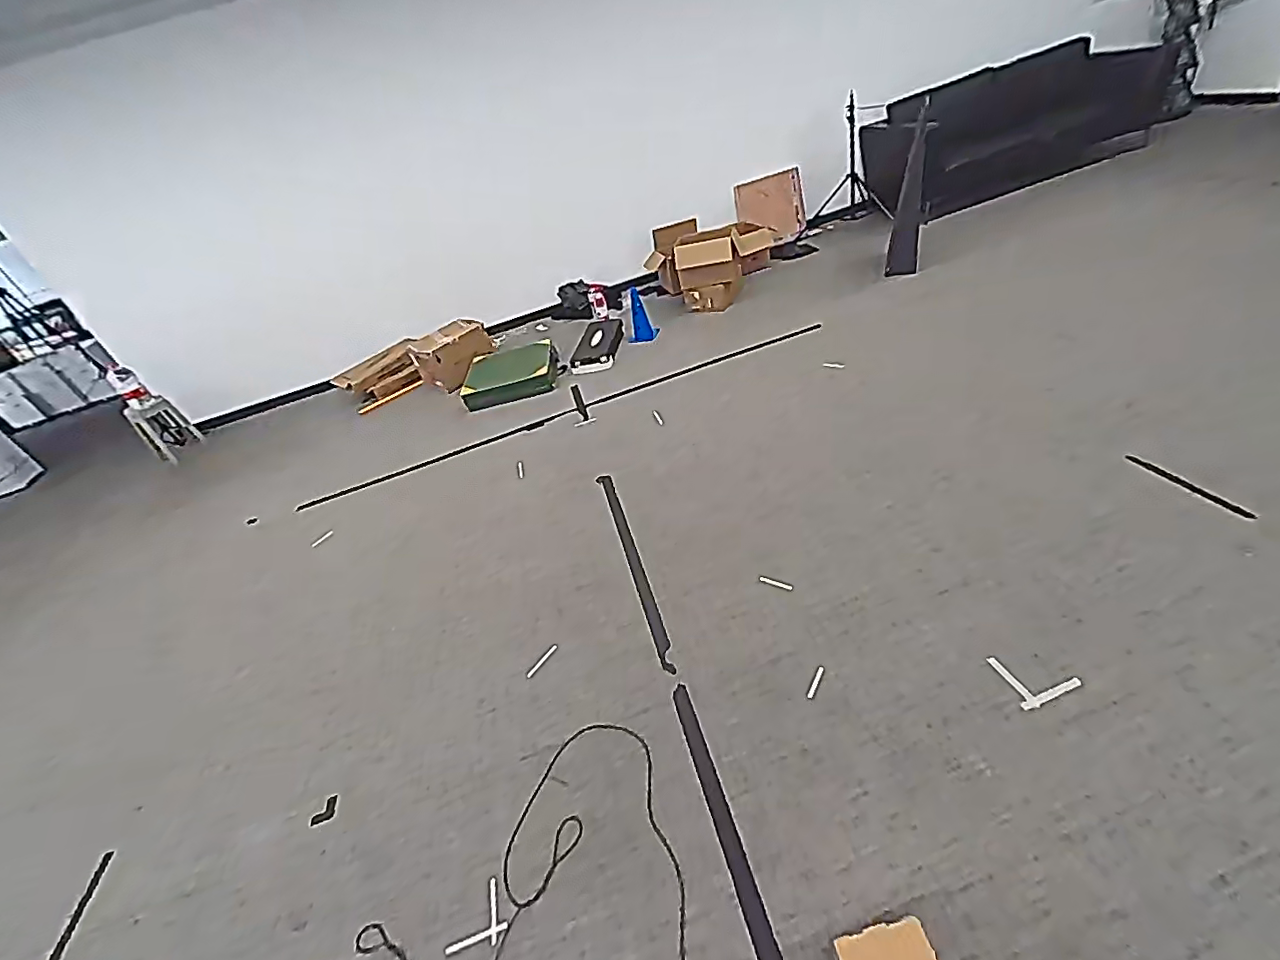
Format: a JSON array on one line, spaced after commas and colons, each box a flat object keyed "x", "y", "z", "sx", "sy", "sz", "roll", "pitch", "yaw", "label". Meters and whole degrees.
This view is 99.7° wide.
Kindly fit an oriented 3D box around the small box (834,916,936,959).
[{"x": 0.473, "y": 0.955, "z": 0.998, "sx": 0.168, "sy": 0.176, "sz": 0.179, "roll": -17, "pitch": 35, "yaw": 1, "label": "small box"}]
